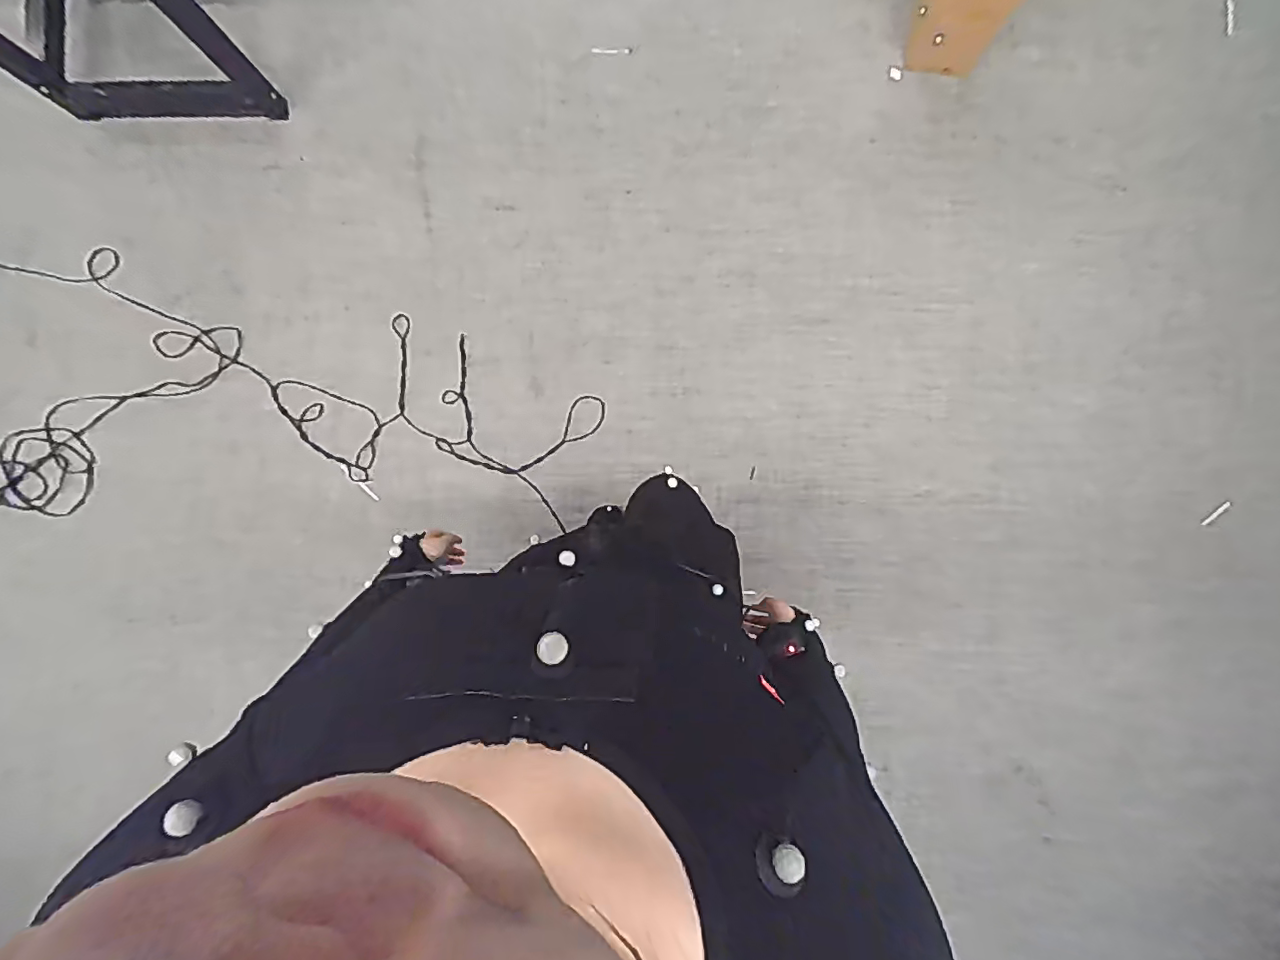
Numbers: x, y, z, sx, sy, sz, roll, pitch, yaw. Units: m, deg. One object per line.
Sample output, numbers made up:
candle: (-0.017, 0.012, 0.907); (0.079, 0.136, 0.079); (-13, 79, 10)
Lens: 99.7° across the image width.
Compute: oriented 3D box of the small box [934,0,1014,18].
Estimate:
small box: (0.833, -1.242, 1.271); (0.179, 0.176, 0.168); (8, 91, 0)
